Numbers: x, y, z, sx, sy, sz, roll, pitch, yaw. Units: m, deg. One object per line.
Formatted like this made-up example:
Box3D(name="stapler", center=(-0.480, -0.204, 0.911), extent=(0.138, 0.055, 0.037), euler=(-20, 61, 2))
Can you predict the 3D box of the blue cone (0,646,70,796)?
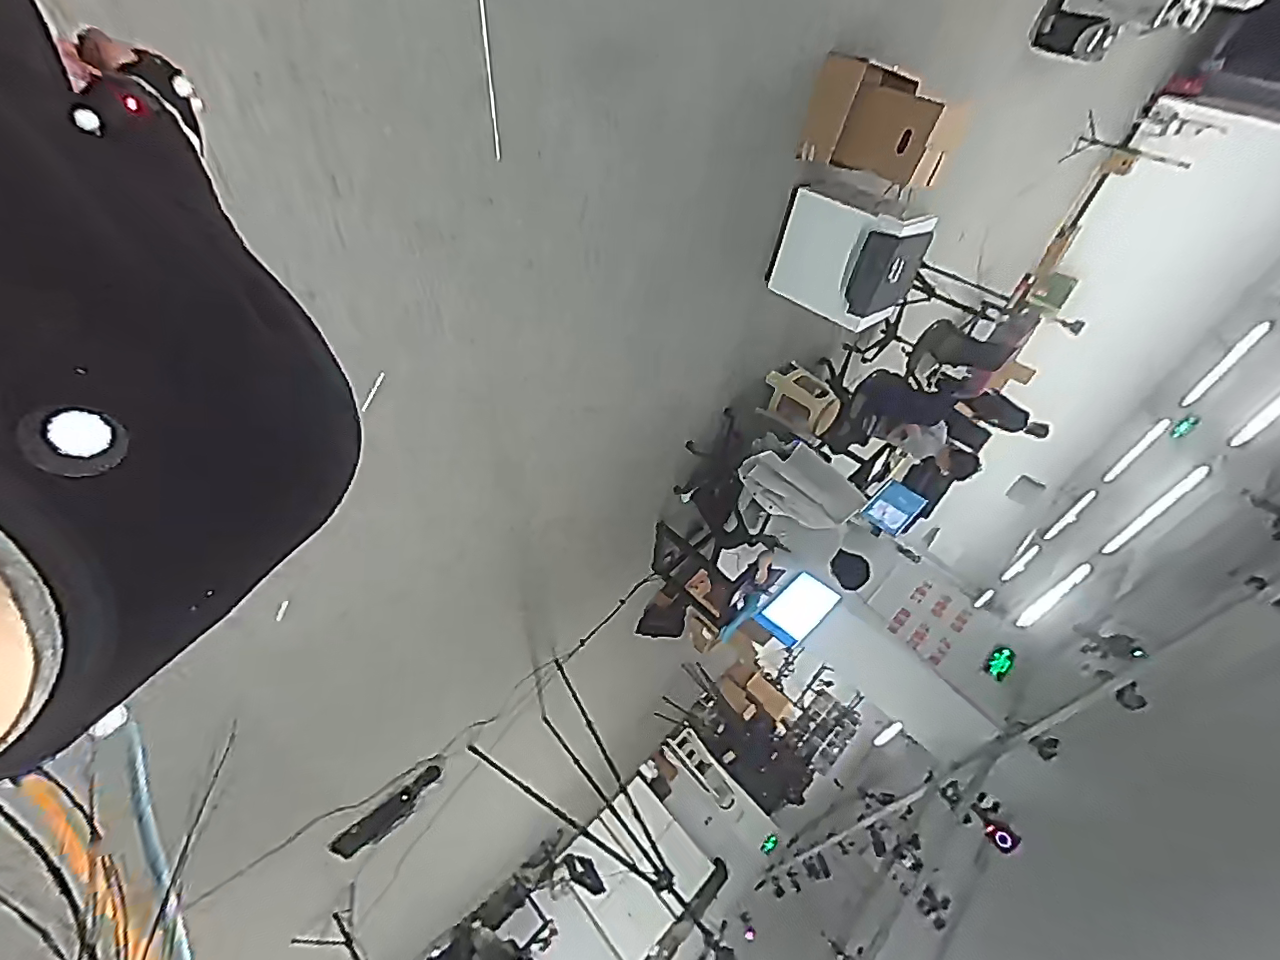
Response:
Box3D(name="blue cone", center=(-1.493, 0.595, 1.312), extent=(0.192, 0.380, 0.193), euler=(-56, 154, 9))
